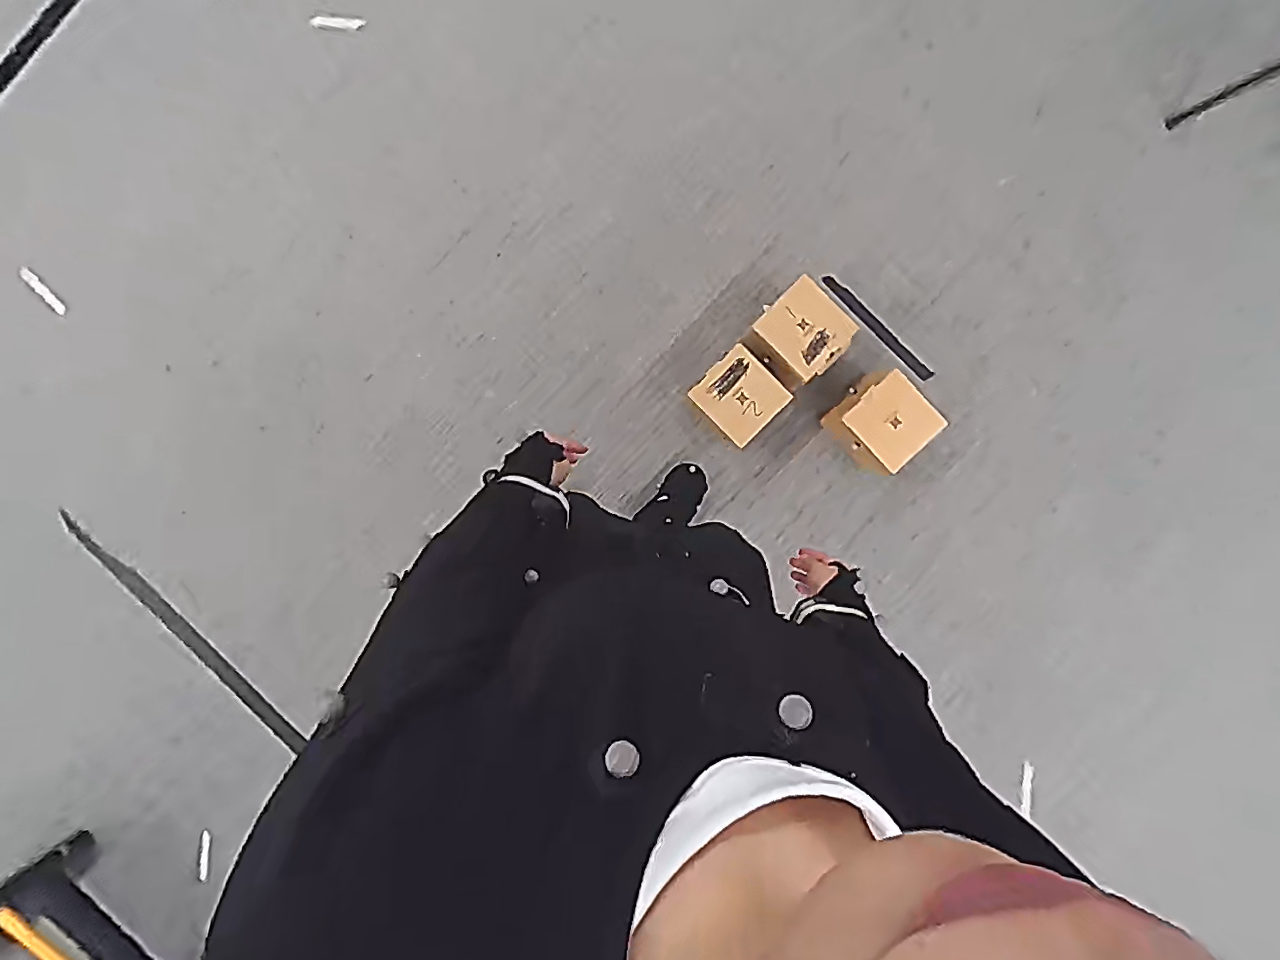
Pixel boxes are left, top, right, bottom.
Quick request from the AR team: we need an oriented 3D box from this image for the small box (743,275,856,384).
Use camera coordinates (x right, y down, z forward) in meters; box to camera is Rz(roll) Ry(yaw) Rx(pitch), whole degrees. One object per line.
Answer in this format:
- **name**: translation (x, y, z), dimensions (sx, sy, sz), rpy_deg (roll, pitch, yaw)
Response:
- **small box**: translation (0.367, -0.343, 1.276), dimensions (0.168, 0.176, 0.179), rpy_deg (-44, 91, 4)

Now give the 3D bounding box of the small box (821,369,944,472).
- **small box**: translation (0.566, -0.139, 1.285), dimensions (0.168, 0.176, 0.179), rpy_deg (-43, 91, 4)
